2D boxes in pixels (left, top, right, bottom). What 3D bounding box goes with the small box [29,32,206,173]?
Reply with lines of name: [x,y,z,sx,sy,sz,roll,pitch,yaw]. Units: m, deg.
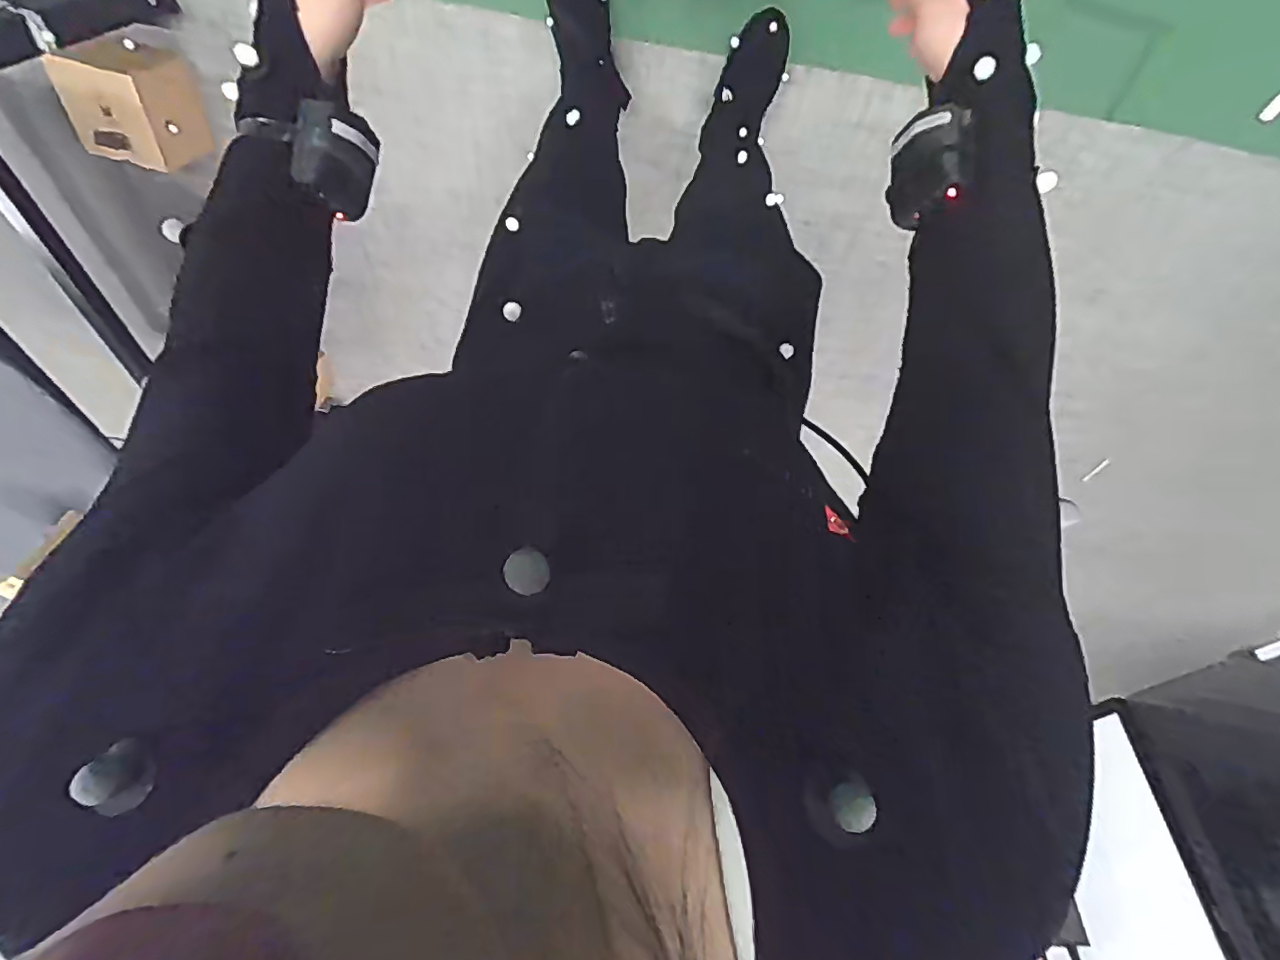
small box: [-1.048,-0.774,1.110,0.168,0.176,0.179,12,140,-6]

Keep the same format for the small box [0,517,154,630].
small box: [-1.230,0.206,1.180,0.168,0.176,0.179,-20,133,30]
